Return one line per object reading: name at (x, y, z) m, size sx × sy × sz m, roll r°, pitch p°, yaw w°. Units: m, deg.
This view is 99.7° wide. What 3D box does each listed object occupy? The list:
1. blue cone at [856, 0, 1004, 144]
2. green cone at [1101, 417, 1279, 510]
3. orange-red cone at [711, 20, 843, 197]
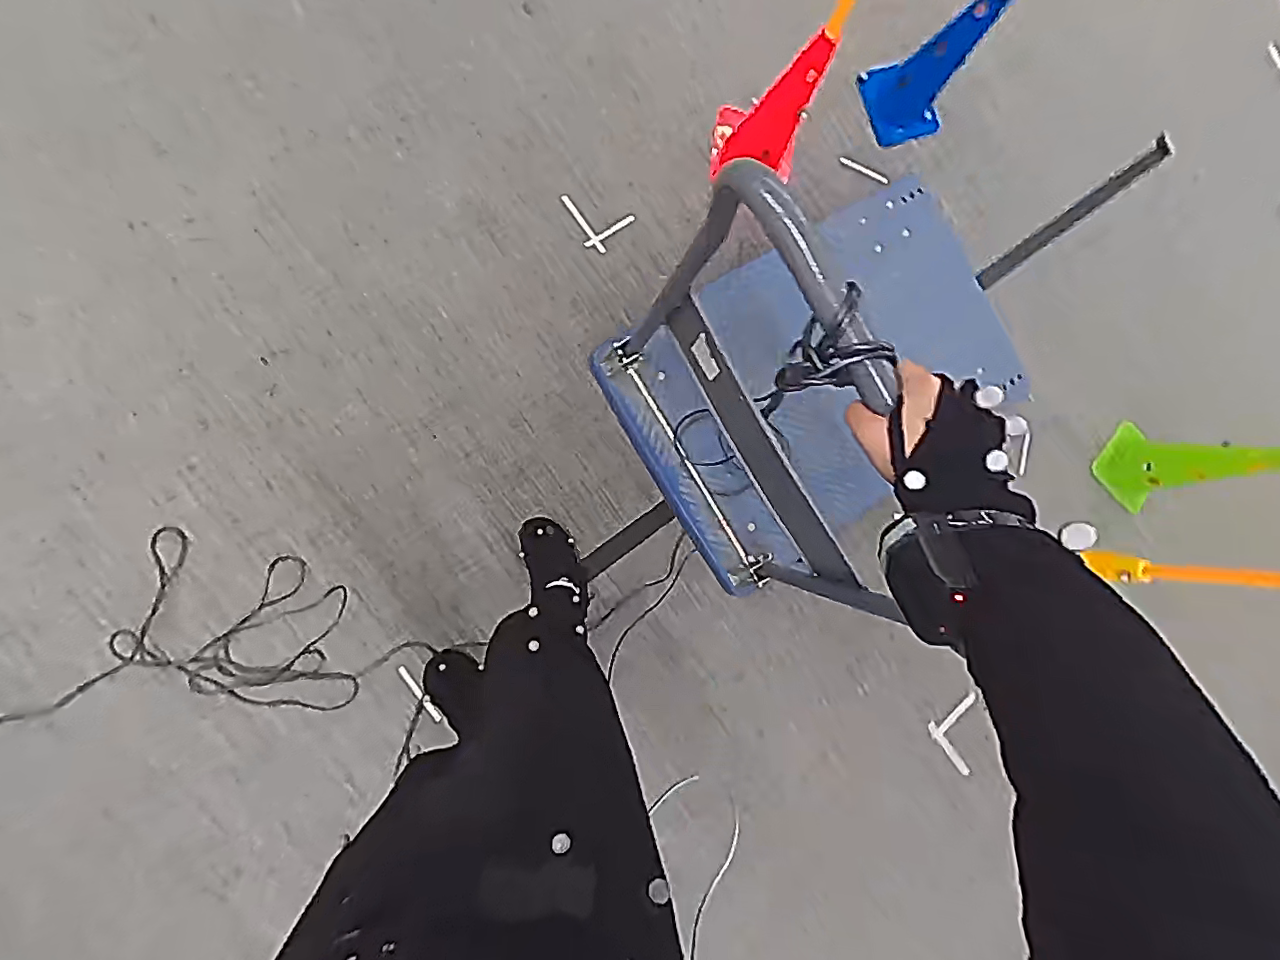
blue cone at (0.701, -0.990, 1.247) m, size 0.192 × 0.380 × 0.193 m, roll -21°, pitch 92°, yaw -11°
green cone at (1.415, -0.053, 1.333) m, size 0.200 × 0.368 × 0.202 m, roll 41°, pitch 81°, yaw -7°
orange-red cone at (0.313, -0.805, 1.142) m, size 0.199 × 0.360 × 0.198 m, roll 10°, pitch 86°, yaw -13°
